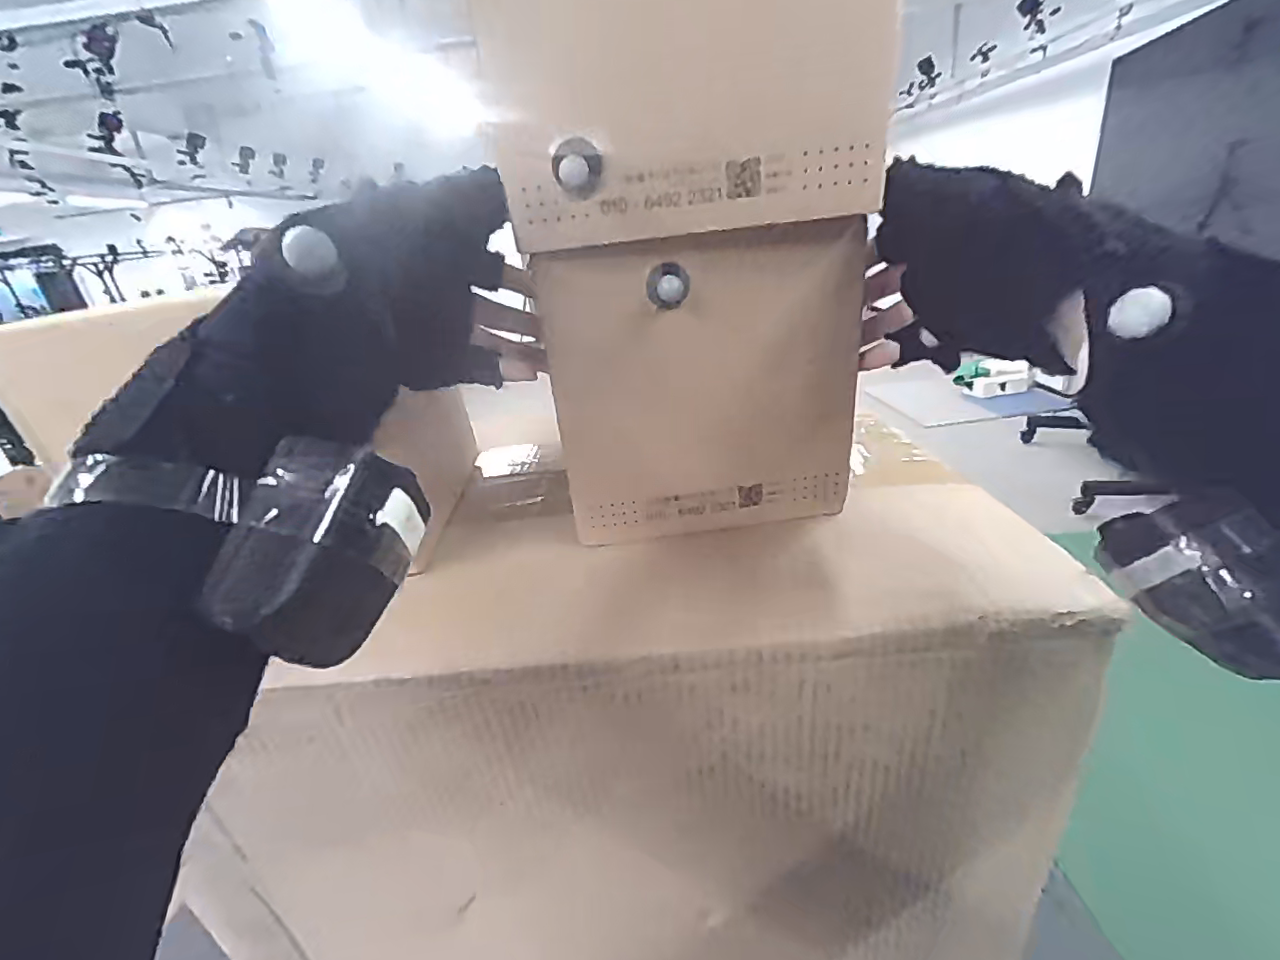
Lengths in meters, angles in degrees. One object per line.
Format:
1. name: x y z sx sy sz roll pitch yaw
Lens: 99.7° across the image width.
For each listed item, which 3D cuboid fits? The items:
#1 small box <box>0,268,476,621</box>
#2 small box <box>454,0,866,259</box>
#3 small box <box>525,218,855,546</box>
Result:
1. small box: -0.223 -0.035 0.364 0.168 0.176 0.179 -11 27 0
2. small box: 0.011 -0.216 0.284 0.168 0.176 0.179 -6 27 3
3. small box: 0.028 -0.076 0.371 0.168 0.176 0.179 -9 26 -1
